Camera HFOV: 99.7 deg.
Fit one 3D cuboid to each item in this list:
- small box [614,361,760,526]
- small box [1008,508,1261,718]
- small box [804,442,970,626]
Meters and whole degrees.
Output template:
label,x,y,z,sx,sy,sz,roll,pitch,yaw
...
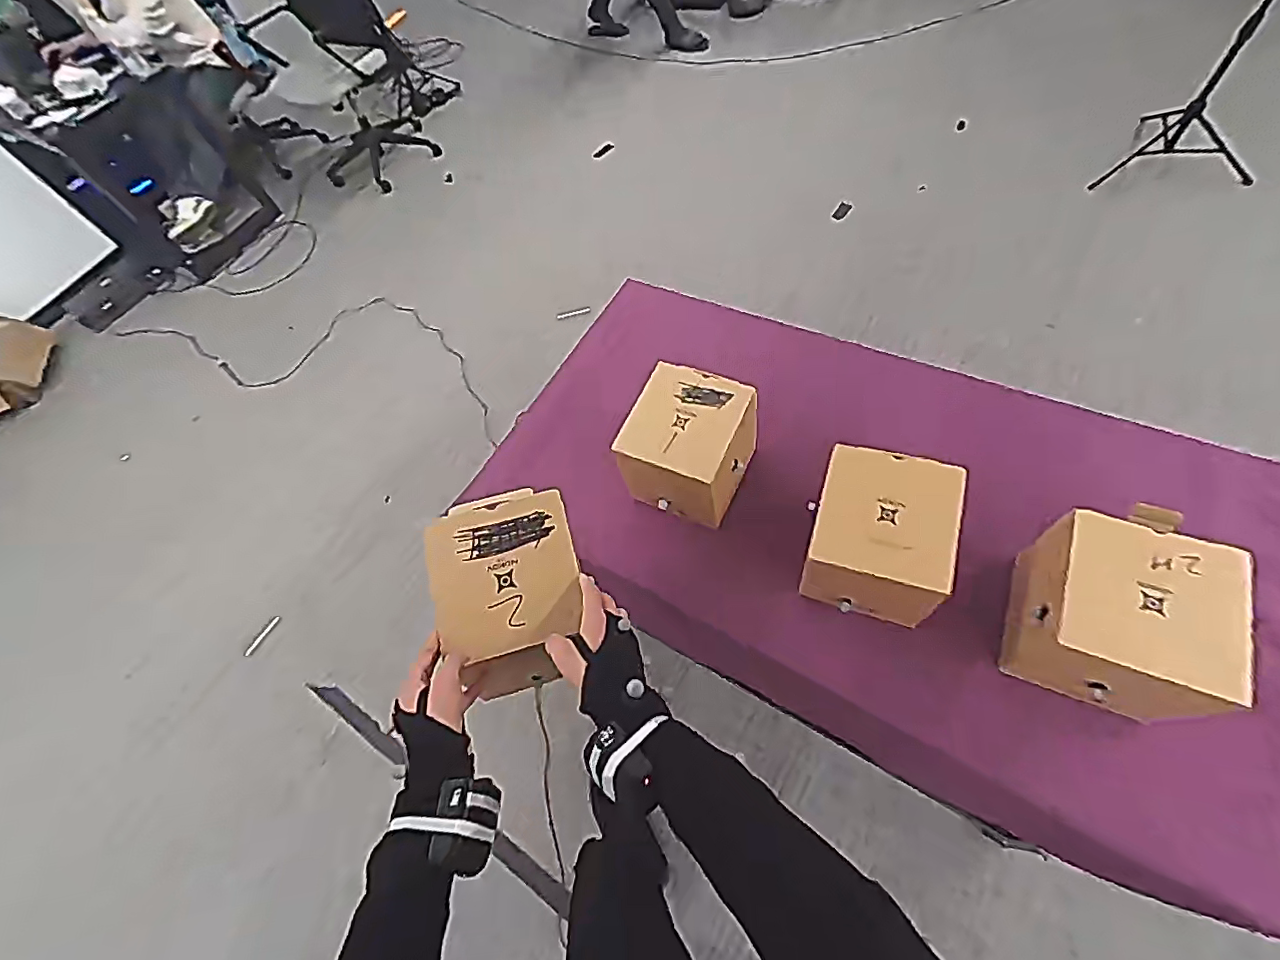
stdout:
label,x,y,z,sx,sy,sz,roll,pitch,yaw
small box,0.081,-0.055,0.868,0.168,0.176,0.179,21,68,21
small box,0.572,0.165,0.647,0.168,0.176,0.179,18,66,20
small box,0.329,0.078,0.746,0.168,0.176,0.179,14,65,19
